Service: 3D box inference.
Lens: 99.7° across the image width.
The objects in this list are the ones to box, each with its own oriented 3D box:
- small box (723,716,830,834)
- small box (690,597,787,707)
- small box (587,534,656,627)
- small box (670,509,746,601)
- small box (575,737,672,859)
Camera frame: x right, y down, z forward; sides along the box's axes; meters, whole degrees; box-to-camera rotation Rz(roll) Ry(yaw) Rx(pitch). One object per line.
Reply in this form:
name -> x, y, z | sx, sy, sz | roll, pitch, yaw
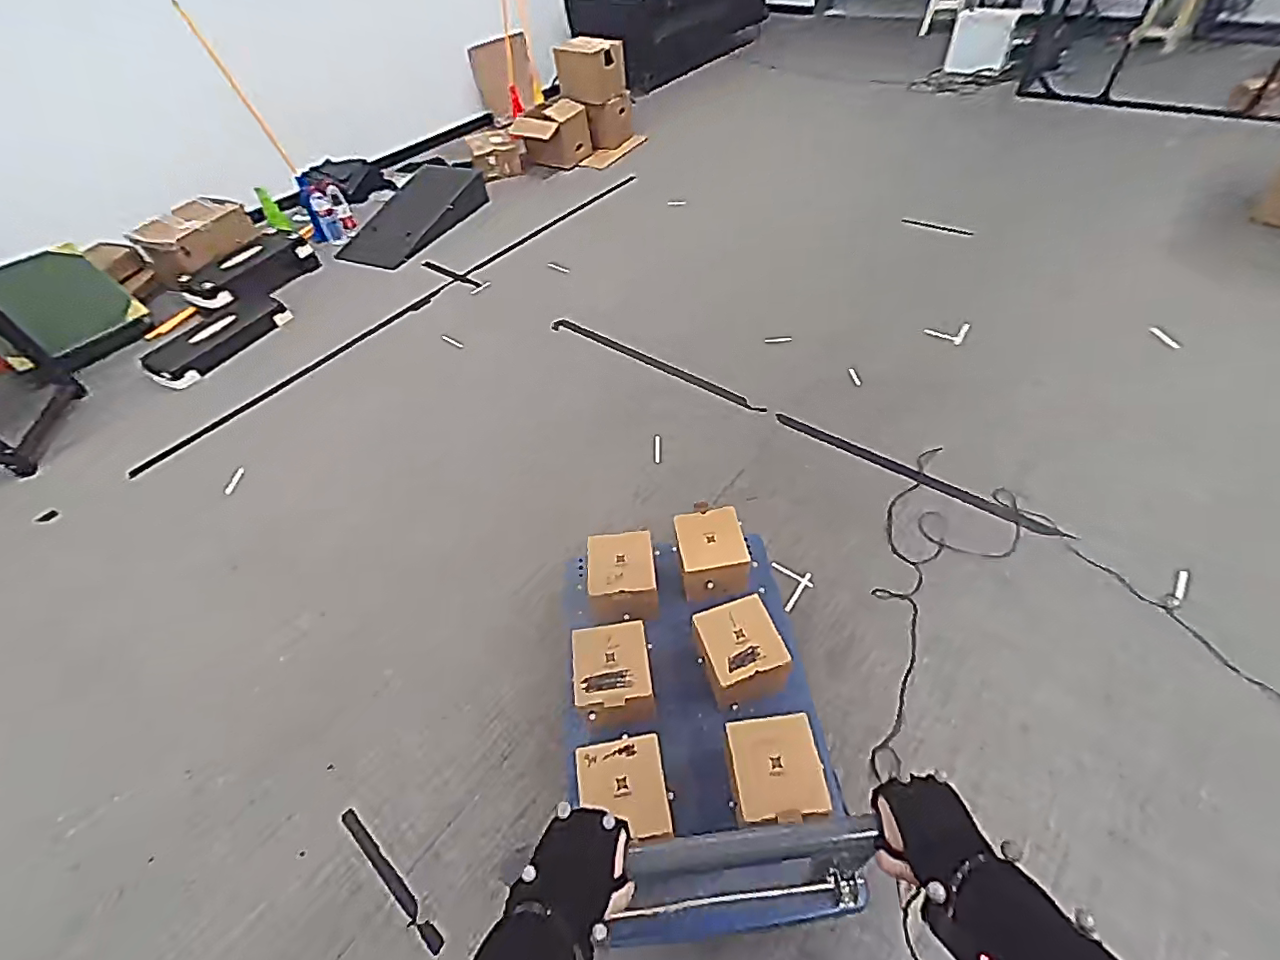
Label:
small box -> 0.265, 0.601, 1.093 | 0.168, 0.176, 0.179 | -7, 49, -1
small box -> 0.223, 0.408, 1.260 | 0.168, 0.176, 0.179 | -16, 49, -9
small box -> -0.048, 0.263, 1.409 | 0.168, 0.176, 0.179 | -6, 50, 0
small box -> 0.179, 0.207, 1.438 | 0.168, 0.176, 0.179 | -10, 49, -3
small box -> -0.031, 0.642, 1.084 | 0.168, 0.176, 0.179 | -9, 50, -3
